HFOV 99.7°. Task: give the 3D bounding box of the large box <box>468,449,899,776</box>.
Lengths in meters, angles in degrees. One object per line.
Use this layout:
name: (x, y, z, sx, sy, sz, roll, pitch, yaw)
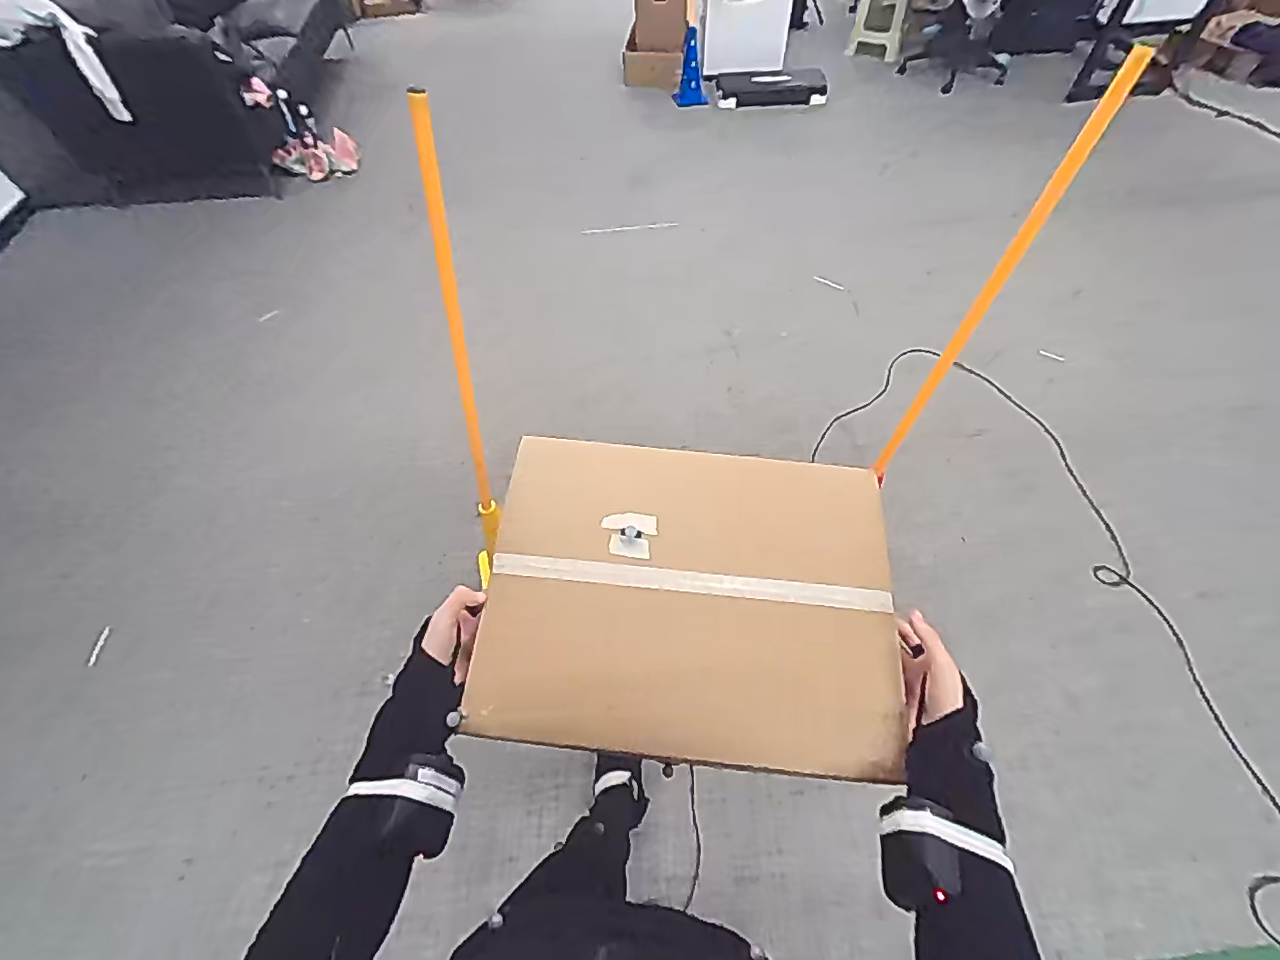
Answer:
large box: (0.052, 0.180, 0.692, 0.408, 0.320, 0.320, 5, 62, 3)
